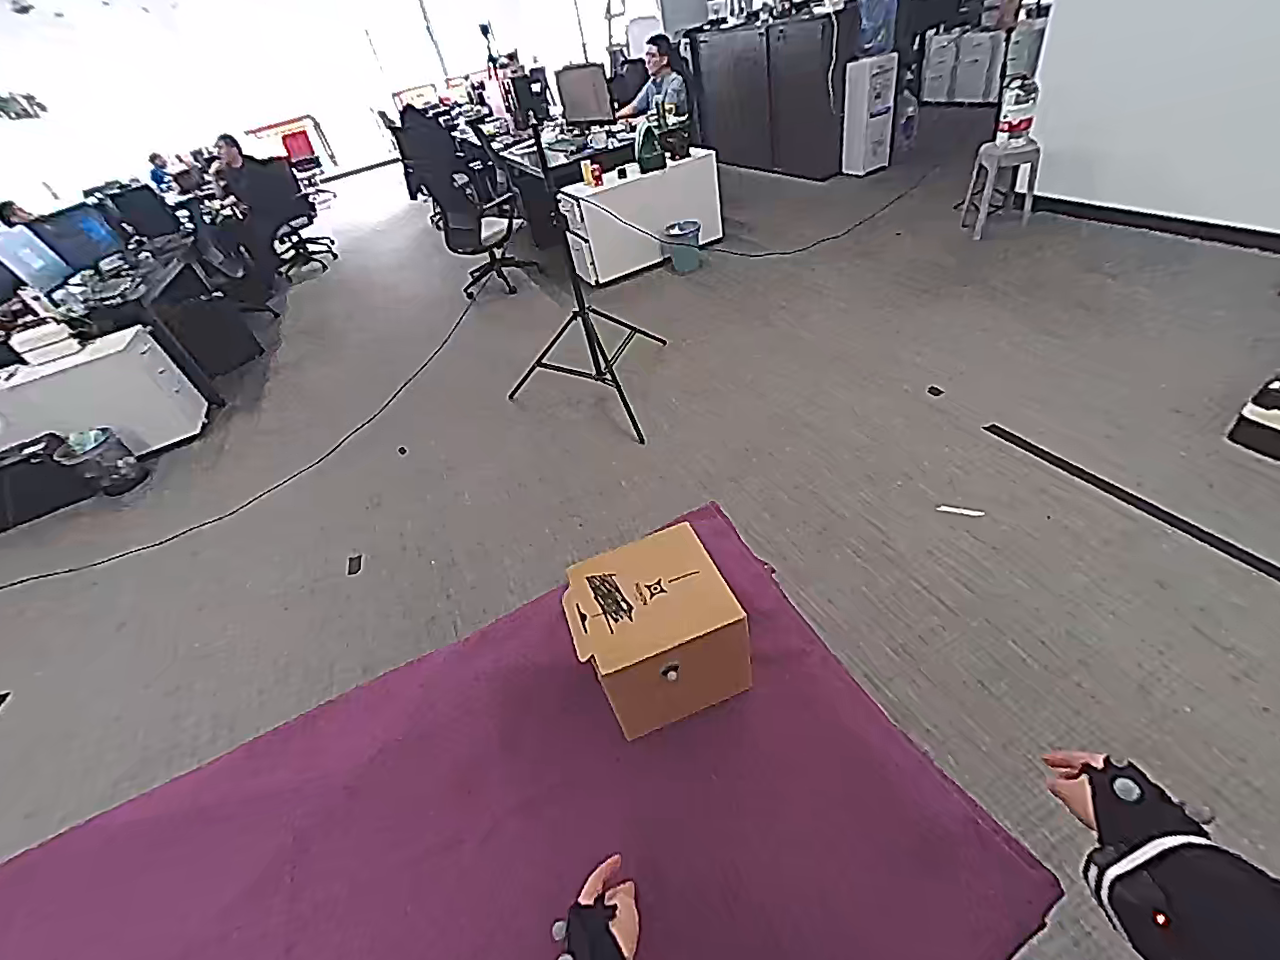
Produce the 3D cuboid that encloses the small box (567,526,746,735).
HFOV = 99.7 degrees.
[{"bbox_3d":[0.025,0.196,0.701,0.179,0.176,0.168,-20,42,-9],"label":"small box"}]
